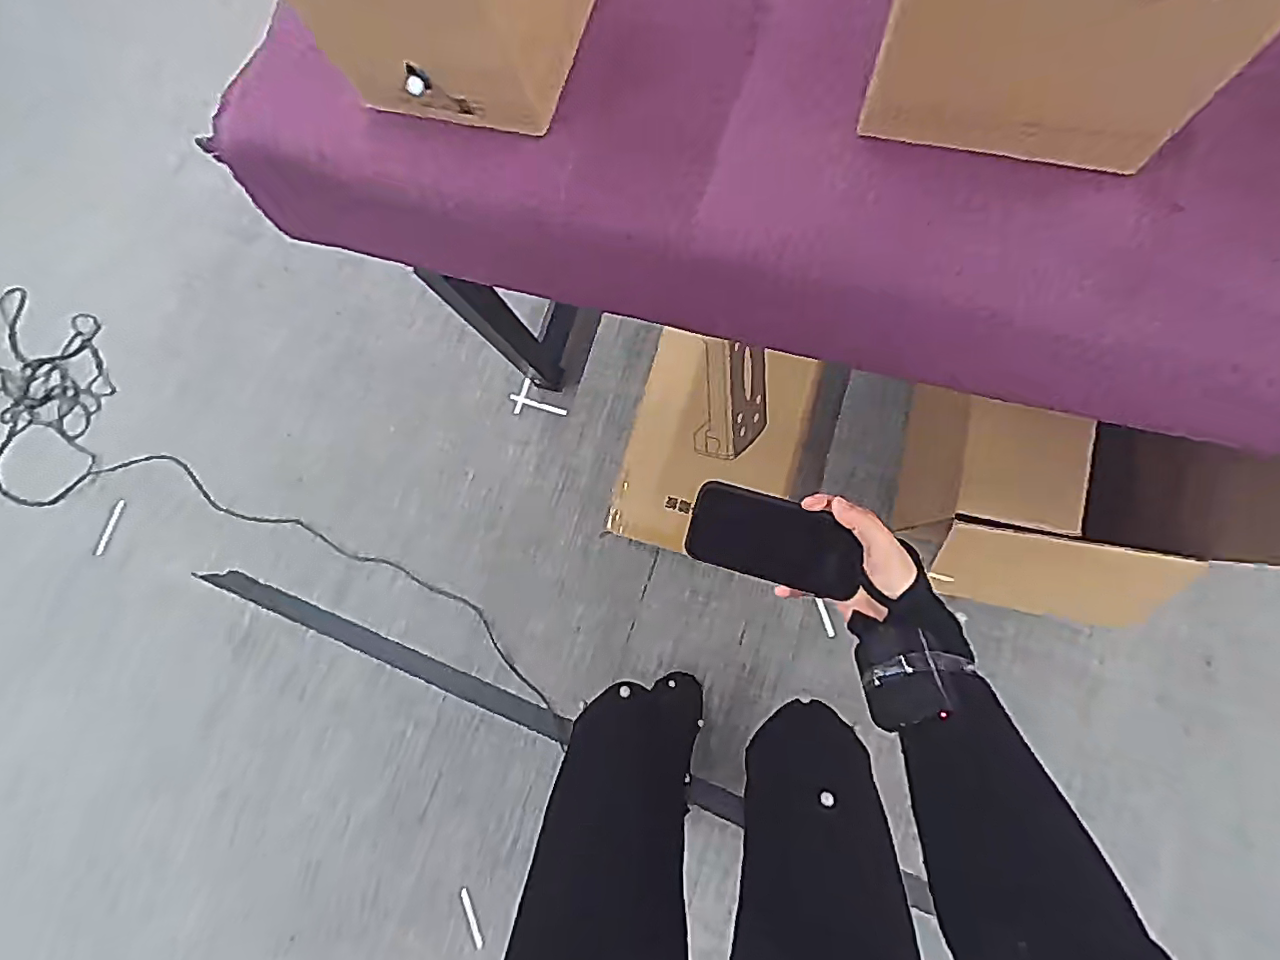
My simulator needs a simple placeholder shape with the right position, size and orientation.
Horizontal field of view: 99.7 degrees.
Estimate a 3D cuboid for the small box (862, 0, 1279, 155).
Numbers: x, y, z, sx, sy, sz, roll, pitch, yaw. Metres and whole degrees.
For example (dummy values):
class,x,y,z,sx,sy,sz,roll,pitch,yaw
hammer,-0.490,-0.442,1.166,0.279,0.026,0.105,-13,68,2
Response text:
class,x,y,z,sx,sy,sz,roll,pitch,yaw
small box,0.245,-0.313,0.290,0.179,0.176,0.168,16,82,11
